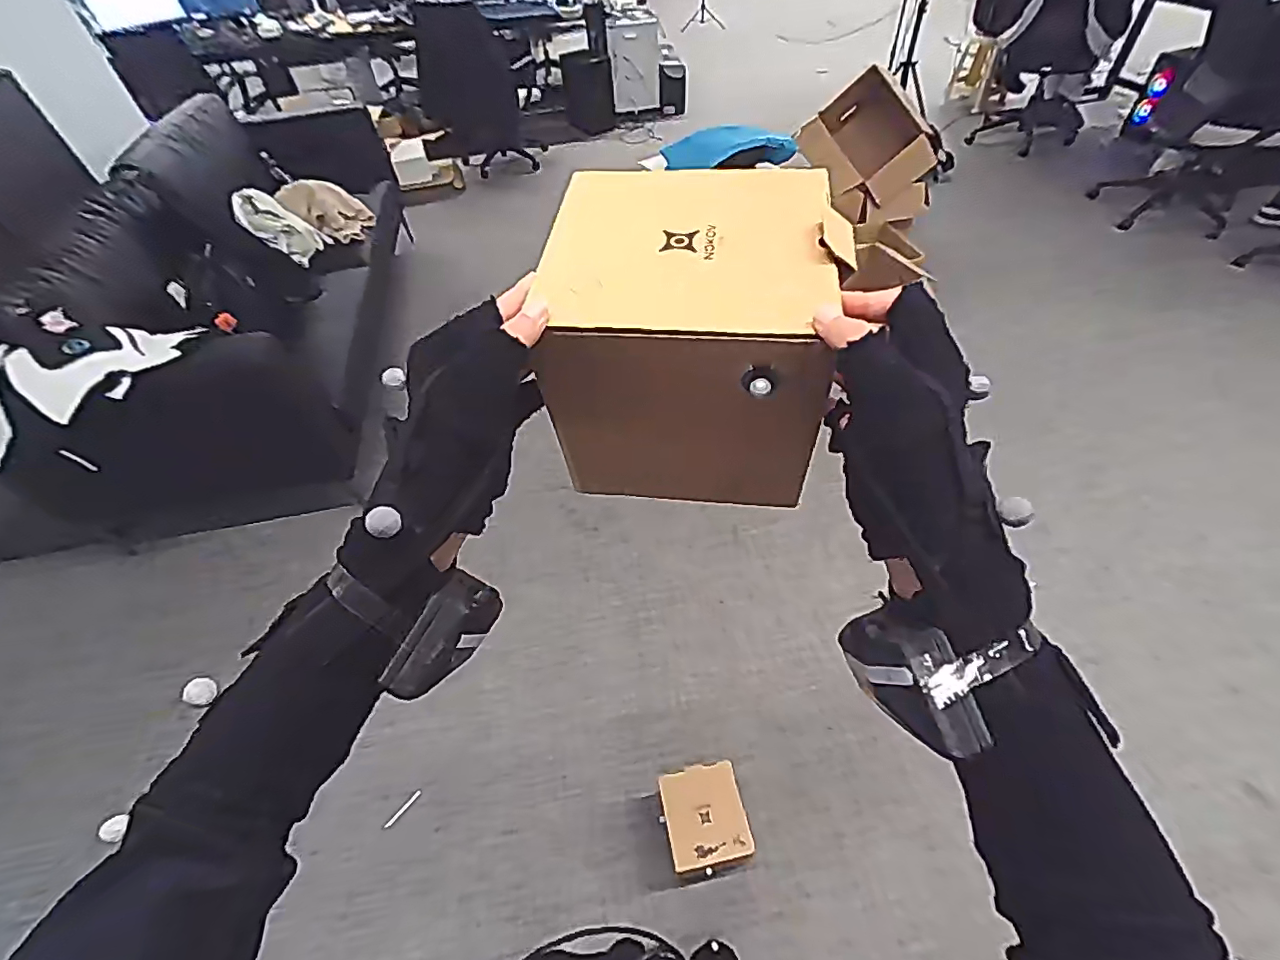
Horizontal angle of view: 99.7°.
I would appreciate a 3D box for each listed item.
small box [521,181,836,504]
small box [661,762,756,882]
[{"bbox_3d":[0.034,-0.095,0.402,0.179,0.176,0.168,4,56,8],"label":"small box"},{"bbox_3d":[0.142,0.746,1.177,0.168,0.176,0.179,-11,49,-4],"label":"small box"}]
